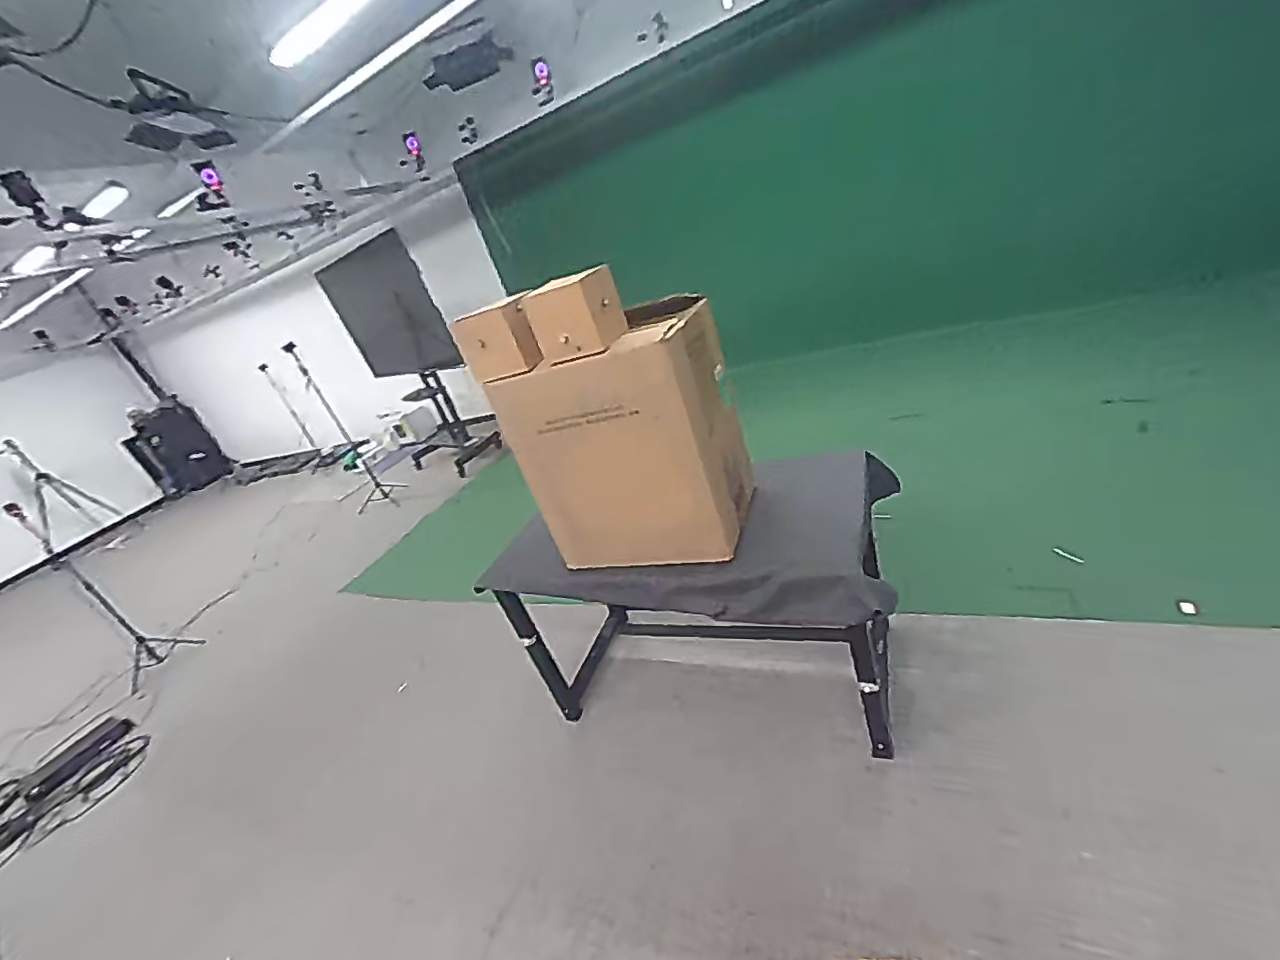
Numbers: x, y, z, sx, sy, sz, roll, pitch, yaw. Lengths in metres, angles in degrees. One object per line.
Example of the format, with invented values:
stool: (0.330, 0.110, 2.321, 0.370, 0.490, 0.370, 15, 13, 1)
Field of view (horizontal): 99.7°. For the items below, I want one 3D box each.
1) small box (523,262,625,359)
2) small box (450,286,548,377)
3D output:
small box: (-0.151, -0.411, 1.322, 0.168, 0.176, 0.179, -6, 30, 26)
small box: (-0.351, -0.383, 1.413, 0.179, 0.176, 0.168, -7, 29, 27)
